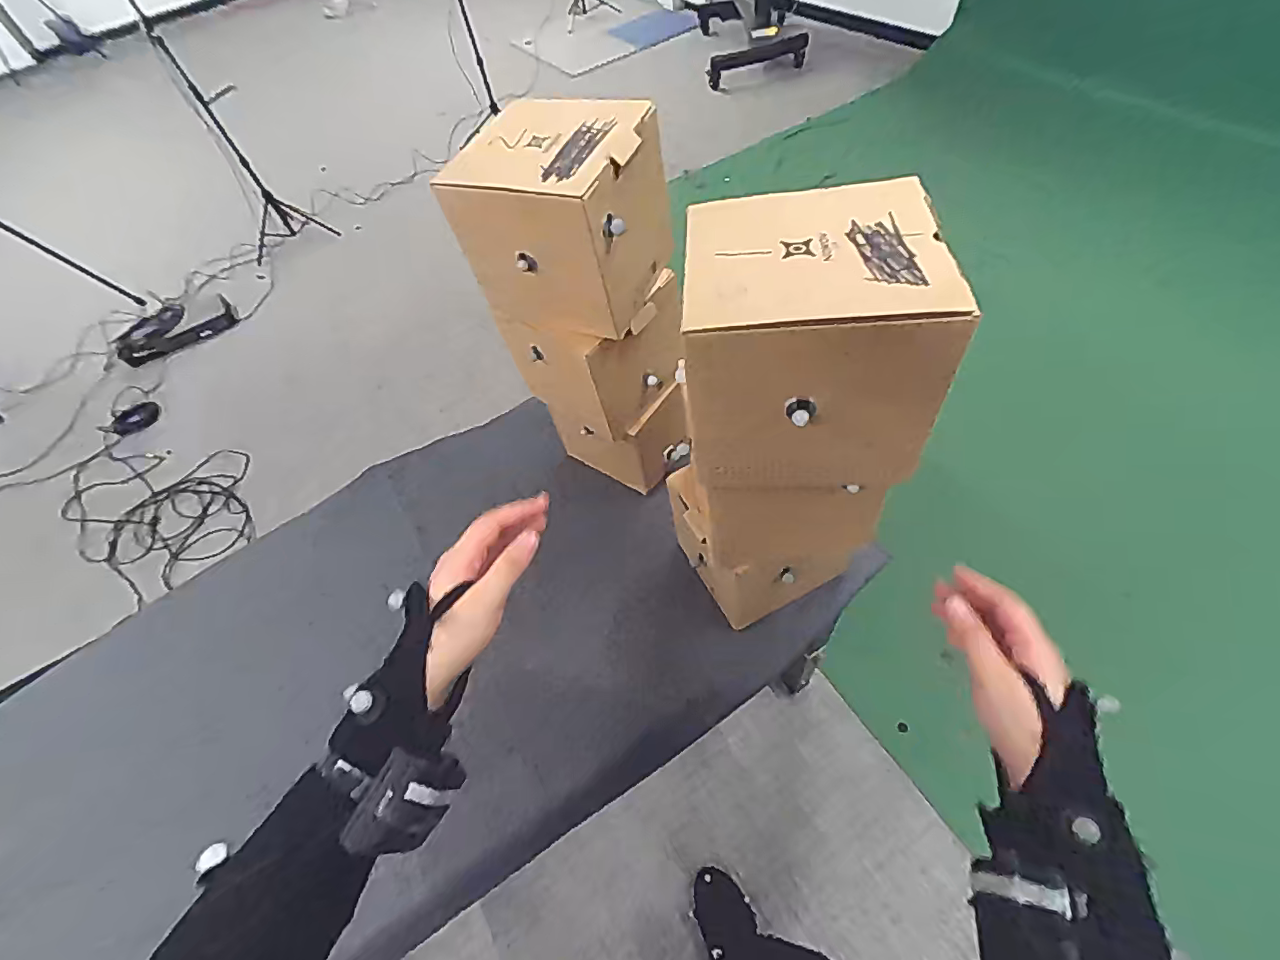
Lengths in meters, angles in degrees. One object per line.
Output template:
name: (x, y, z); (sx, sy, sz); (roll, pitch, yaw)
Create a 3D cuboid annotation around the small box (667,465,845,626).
small box: (0.158, 0.063, 0.713); (0.179, 0.176, 0.168); (-26, 53, -8)

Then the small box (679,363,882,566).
small box: (0.145, -0.023, 0.574); (0.179, 0.176, 0.168); (-9, 52, 3)

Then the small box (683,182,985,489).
small box: (0.130, -0.104, 0.429); (0.179, 0.176, 0.168); (-1, 53, 10)

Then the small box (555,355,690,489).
small box: (-0.019, -0.112, 0.864); (0.179, 0.176, 0.168); (28, 67, 23)

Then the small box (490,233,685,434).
small box: (-0.059, -0.190, 0.722); (0.179, 0.176, 0.168); (32, 69, 26)
